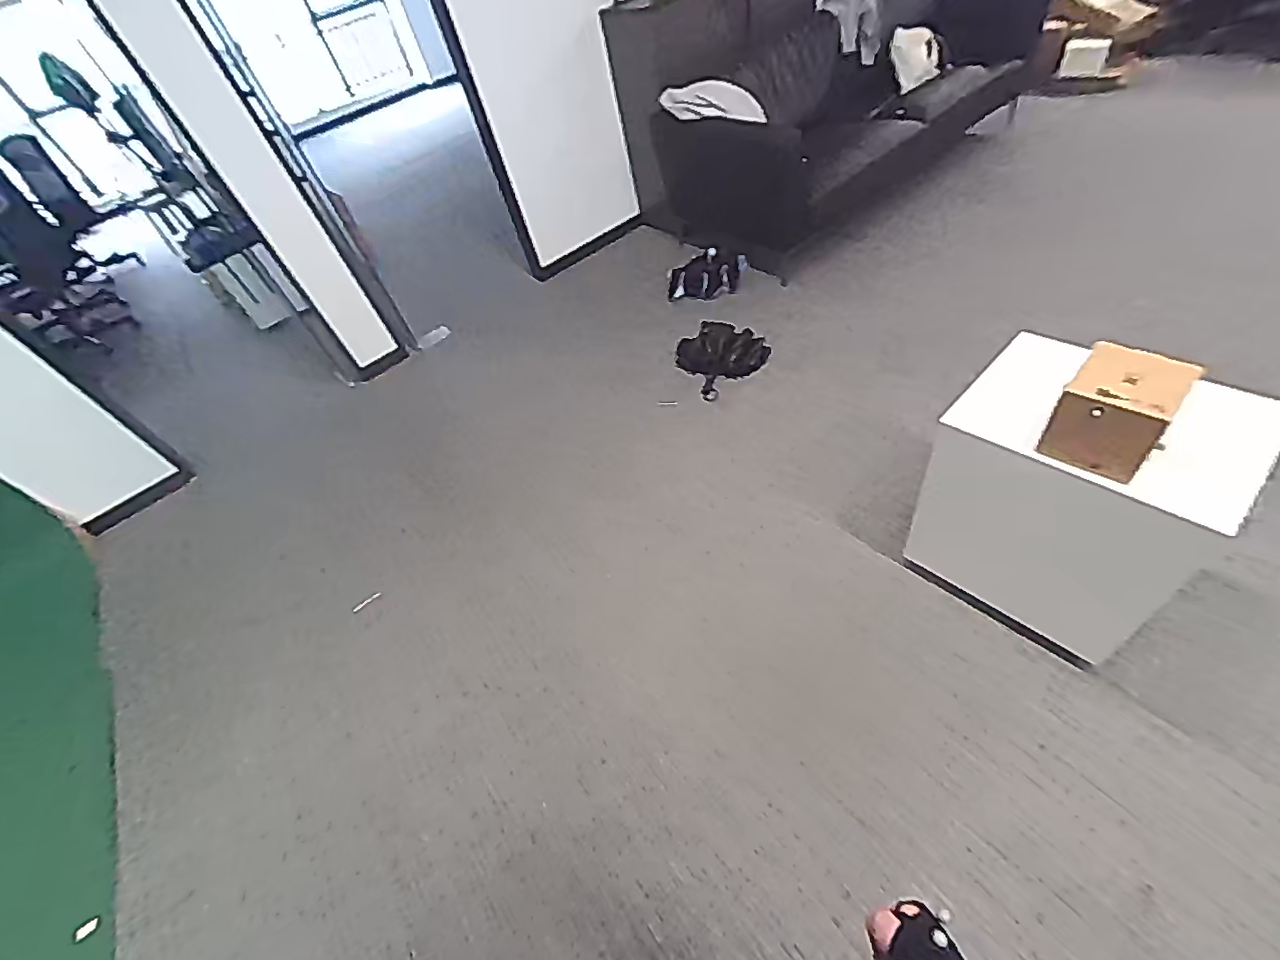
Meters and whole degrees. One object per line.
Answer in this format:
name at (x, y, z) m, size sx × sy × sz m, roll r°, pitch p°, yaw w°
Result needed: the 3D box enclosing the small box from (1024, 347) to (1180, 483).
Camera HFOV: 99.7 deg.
small box at (0.895, -0.129, 1.063) m, size 0.168 × 0.176 × 0.179 m, roll 30°, pitch 60°, yaw 36°
